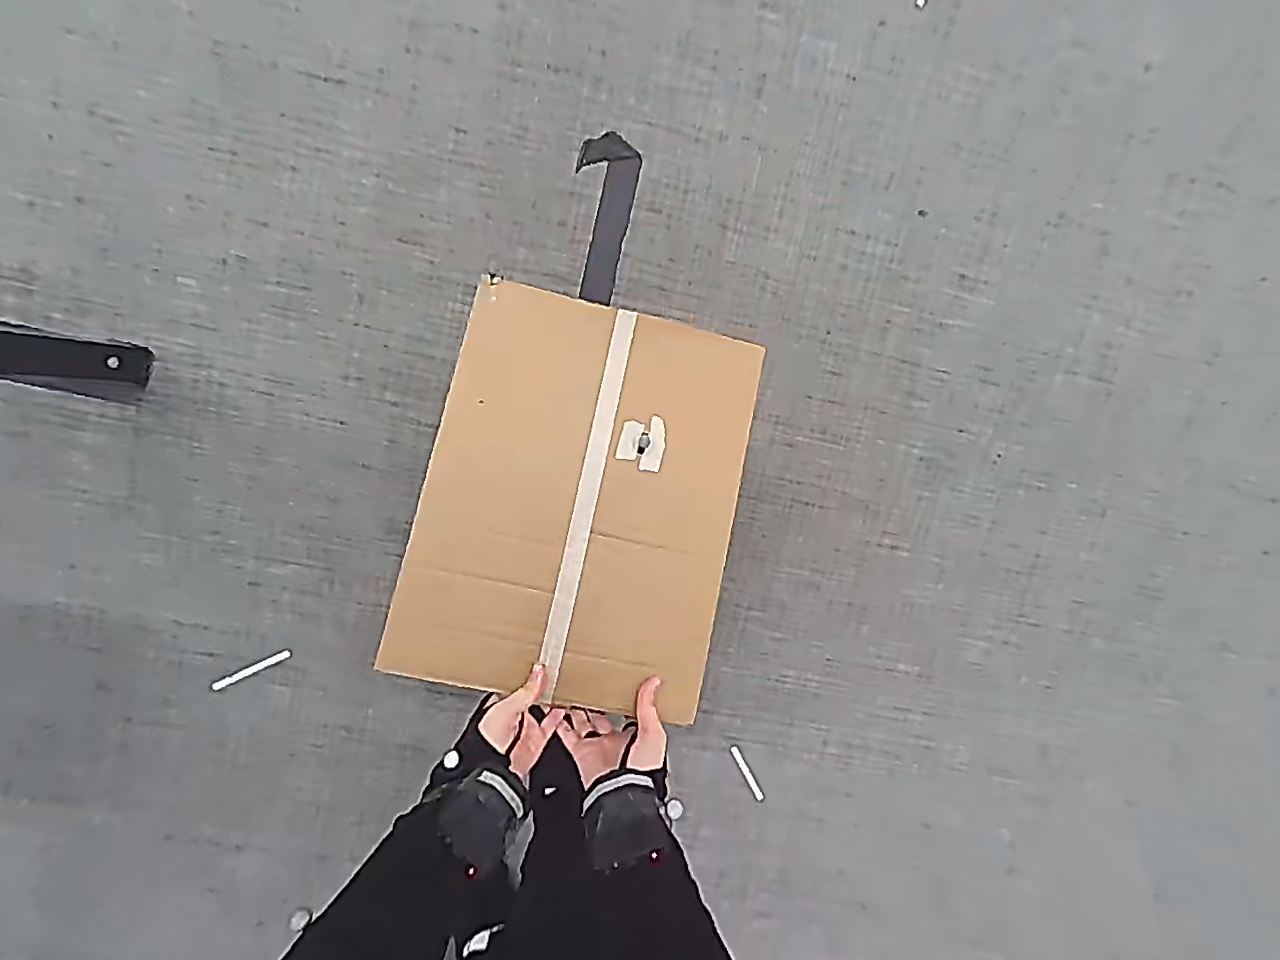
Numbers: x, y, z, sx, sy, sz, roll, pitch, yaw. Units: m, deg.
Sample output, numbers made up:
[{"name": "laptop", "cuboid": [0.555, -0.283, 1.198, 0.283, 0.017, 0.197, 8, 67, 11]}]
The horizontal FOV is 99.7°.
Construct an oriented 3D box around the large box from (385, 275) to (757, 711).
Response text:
[{"name": "large box", "cuboid": [-0.075, 0.028, 0.695, 0.320, 0.320, 0.408, 13, 81, -7]}]
